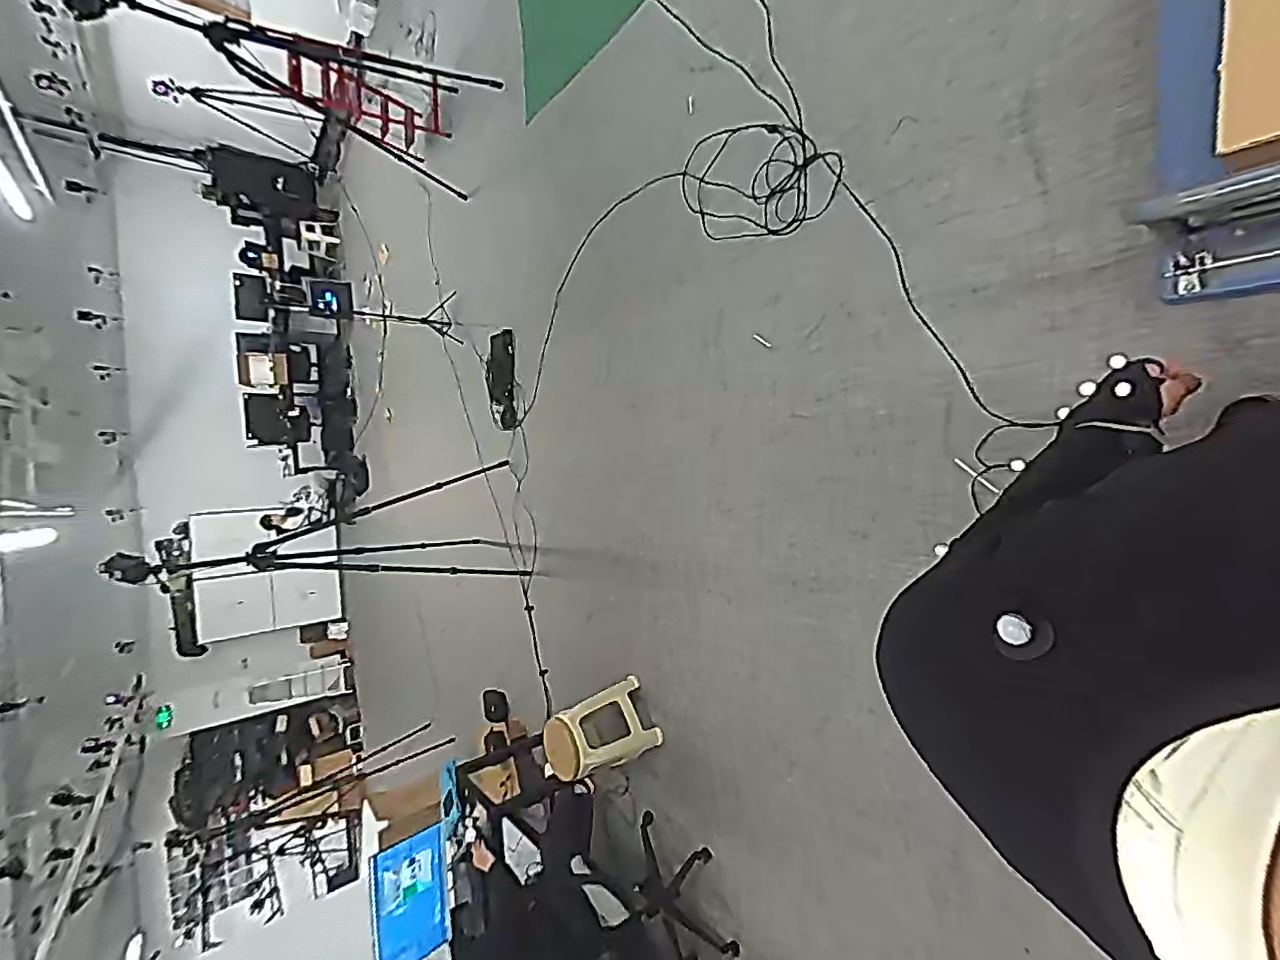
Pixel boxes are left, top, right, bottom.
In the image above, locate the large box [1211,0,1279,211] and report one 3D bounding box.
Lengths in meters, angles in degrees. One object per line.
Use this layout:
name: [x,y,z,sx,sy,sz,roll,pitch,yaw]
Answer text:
large box: [1.069,-0.677,0.775,0.320,0.320,0.408,4,96,50]
